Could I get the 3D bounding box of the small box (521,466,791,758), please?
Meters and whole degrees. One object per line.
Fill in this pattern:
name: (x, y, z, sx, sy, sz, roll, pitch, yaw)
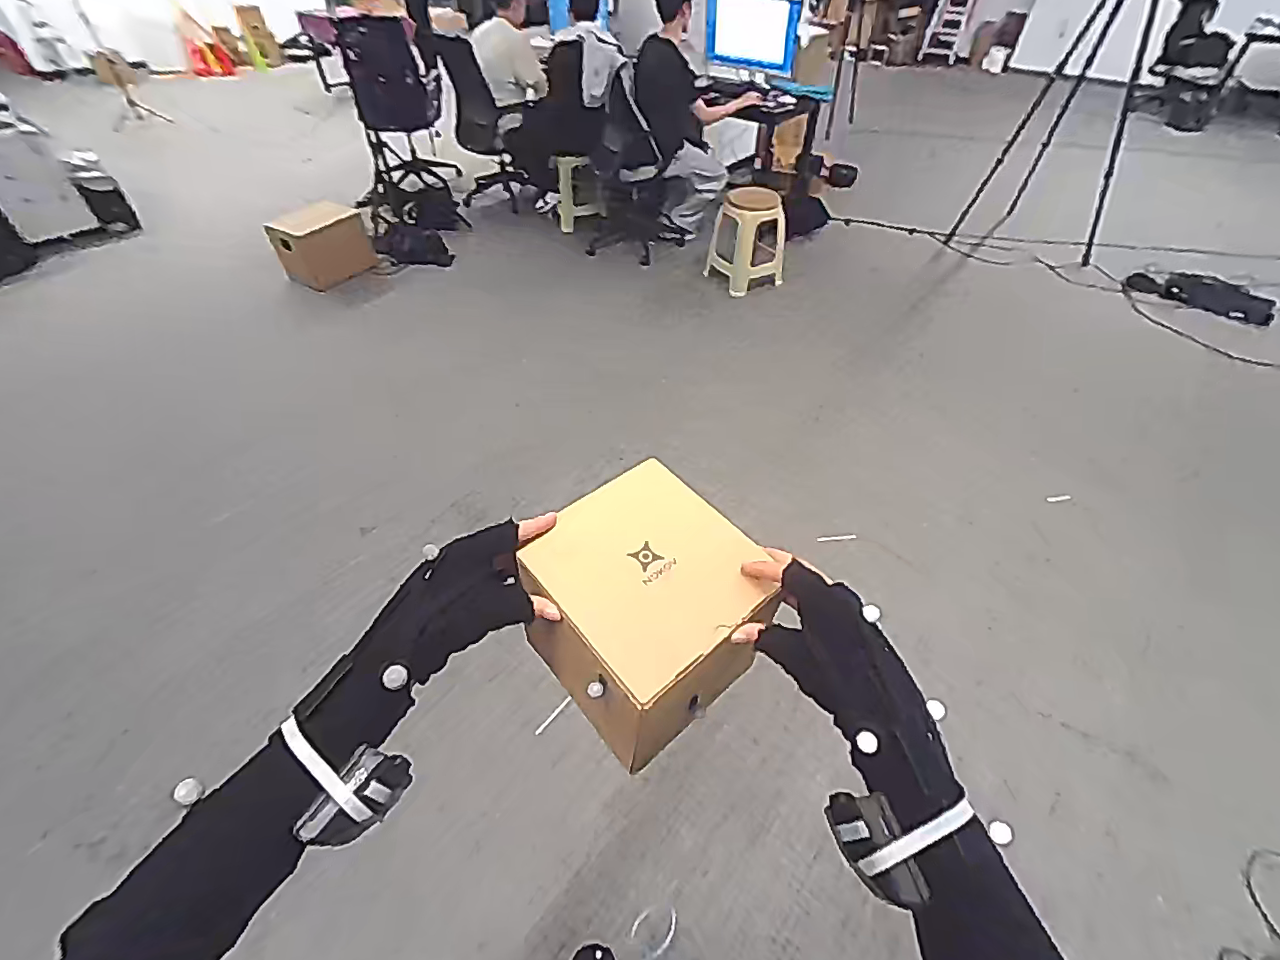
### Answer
small box: (0.004, 0.124, 0.515, 0.168, 0.176, 0.179, -29, 58, -29)
